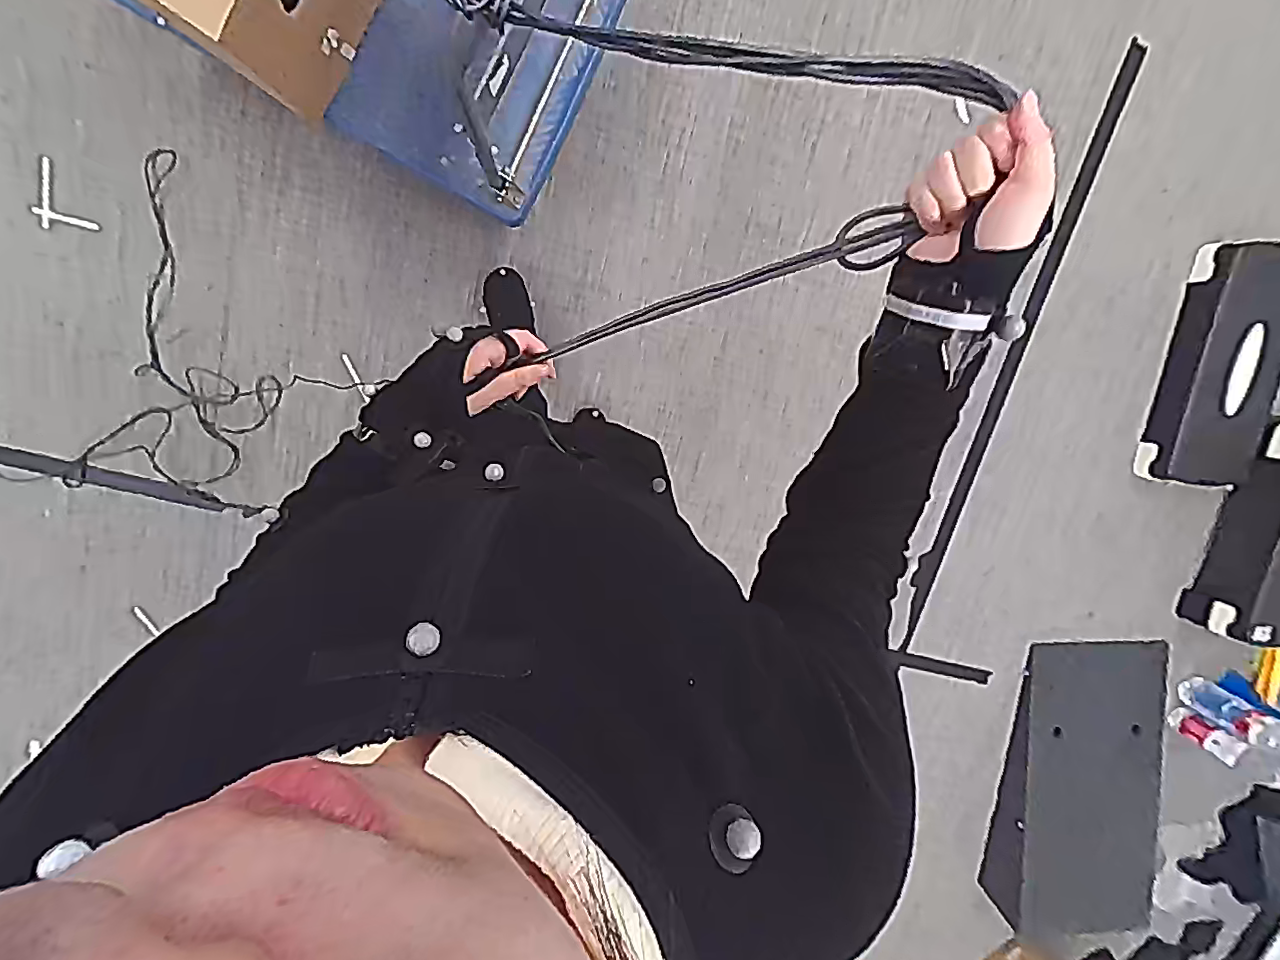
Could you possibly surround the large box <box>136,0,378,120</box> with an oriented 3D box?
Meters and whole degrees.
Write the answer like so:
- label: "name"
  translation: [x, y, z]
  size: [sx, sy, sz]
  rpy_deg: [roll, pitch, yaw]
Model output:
- label: "large box"
  translation: [-0.708, -0.898, 0.870]
  size: [0.408, 0.320, 0.320]
  rpy_deg: [33, 97, -12]
